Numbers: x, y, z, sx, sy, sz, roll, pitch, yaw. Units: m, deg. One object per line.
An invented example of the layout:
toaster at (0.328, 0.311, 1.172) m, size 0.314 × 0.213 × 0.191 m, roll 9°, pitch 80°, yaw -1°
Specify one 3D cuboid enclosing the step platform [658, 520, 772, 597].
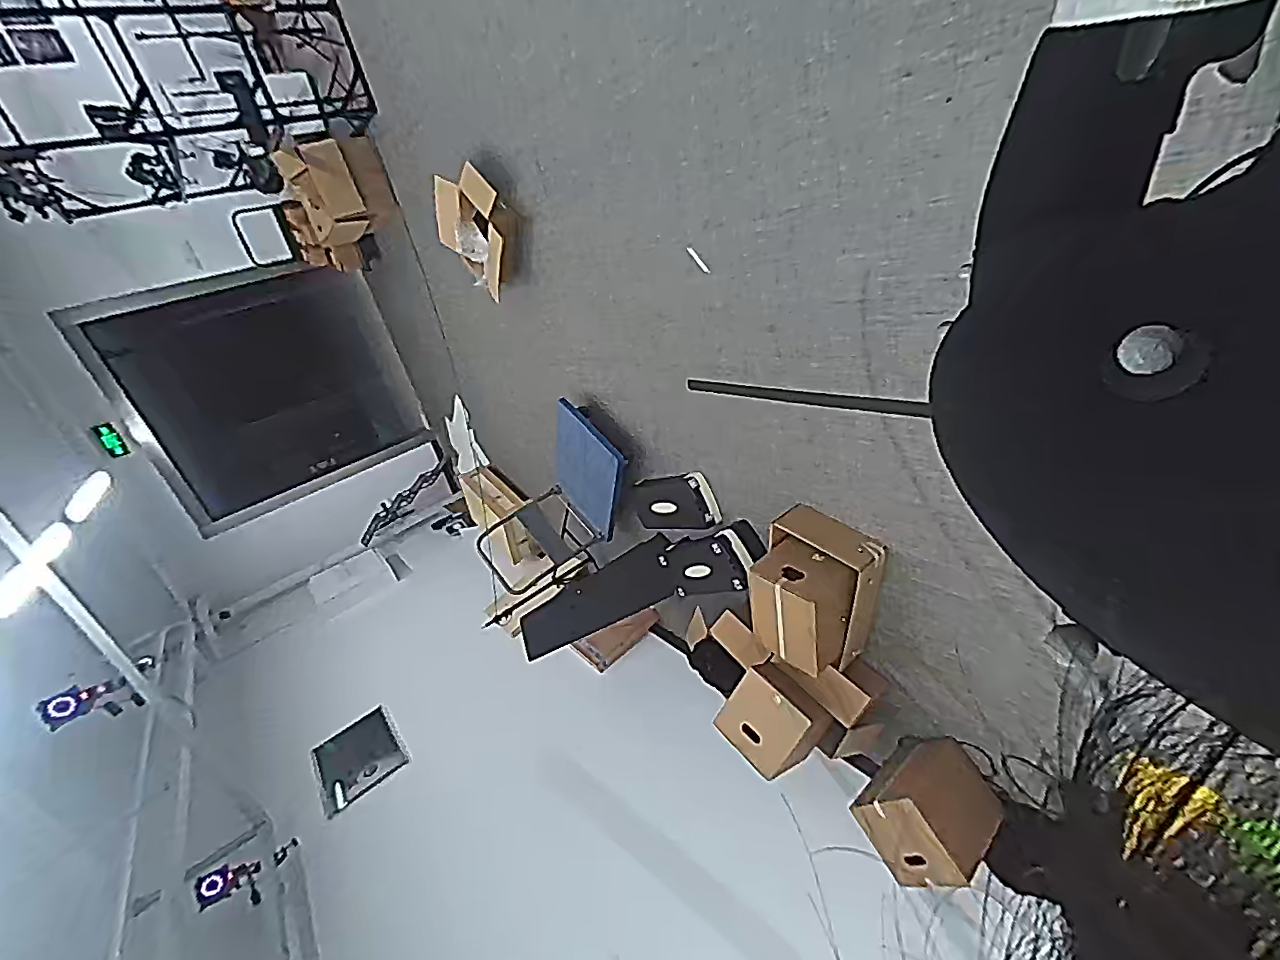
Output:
step platform at (0.358, 0.424, 2.789) m, size 0.286 × 0.204 × 0.684 m, roll 60°, pitch 150°, yaw 0°
